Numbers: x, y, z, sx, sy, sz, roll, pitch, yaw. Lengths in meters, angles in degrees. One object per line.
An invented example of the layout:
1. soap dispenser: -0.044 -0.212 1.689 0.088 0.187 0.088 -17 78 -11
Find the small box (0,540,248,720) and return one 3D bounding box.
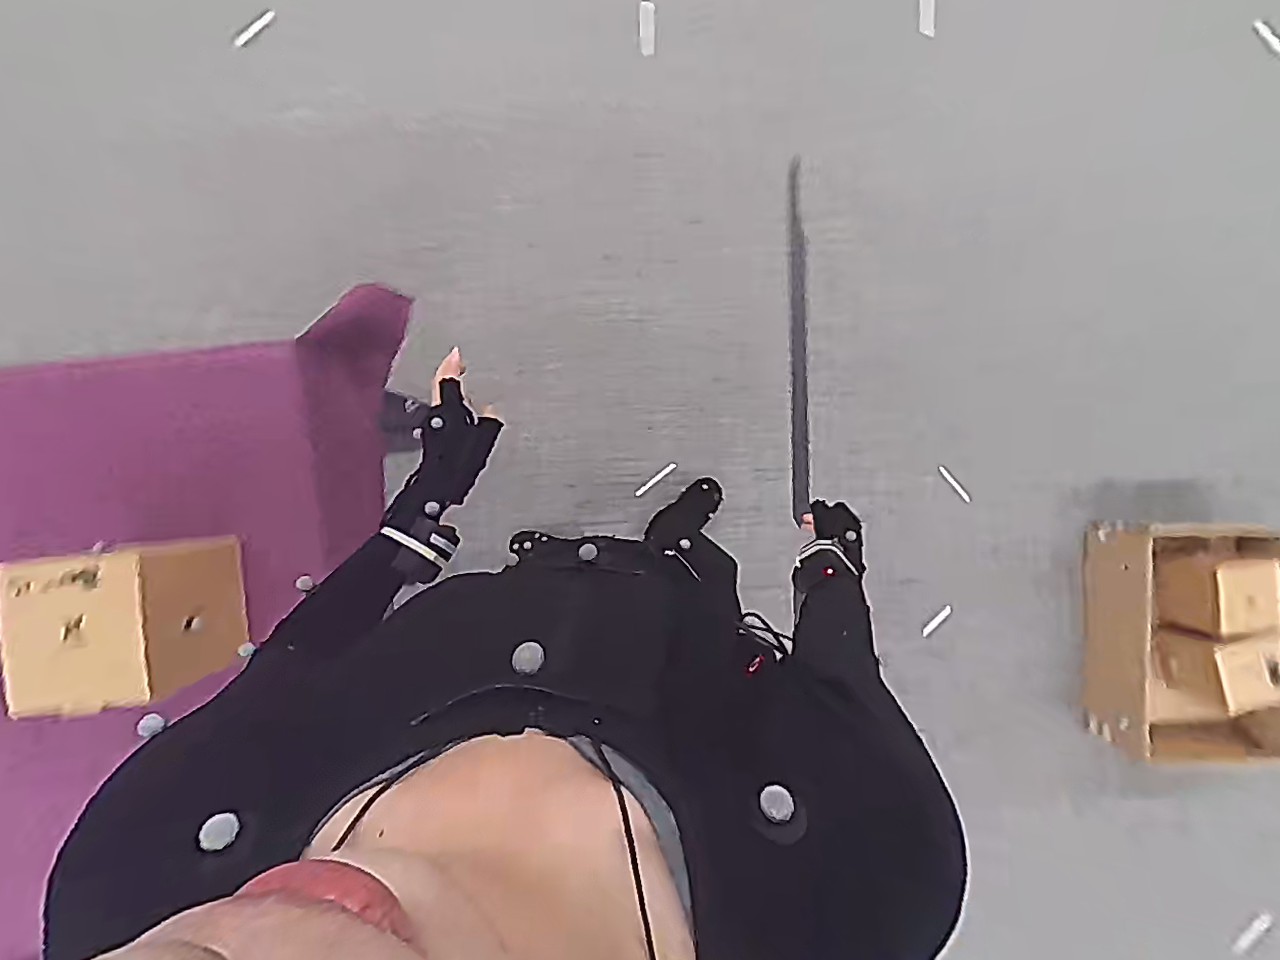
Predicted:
1. small box: -0.651 0.182 0.703 0.168 0.176 0.179 -6 91 -1
